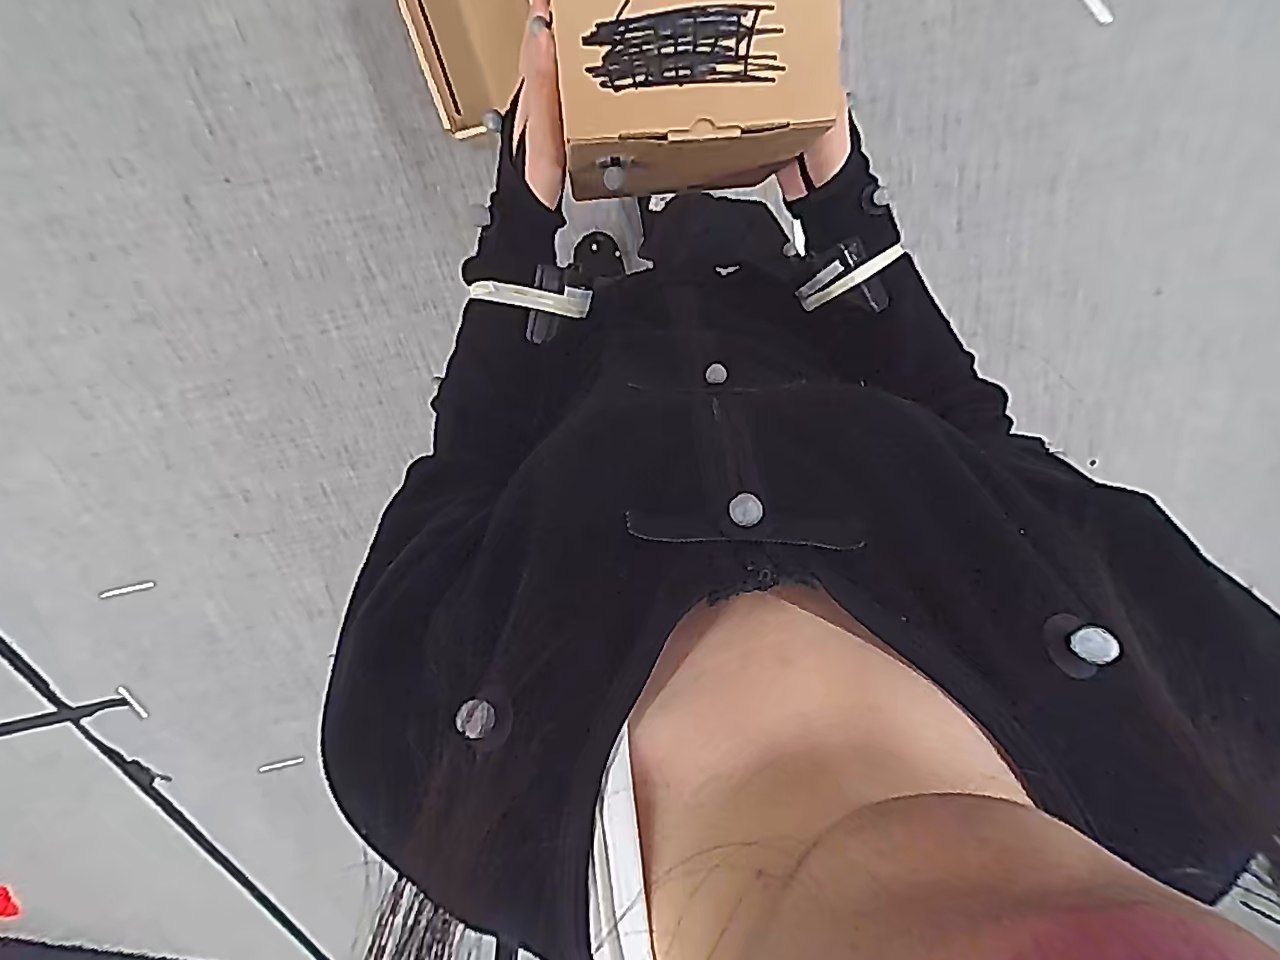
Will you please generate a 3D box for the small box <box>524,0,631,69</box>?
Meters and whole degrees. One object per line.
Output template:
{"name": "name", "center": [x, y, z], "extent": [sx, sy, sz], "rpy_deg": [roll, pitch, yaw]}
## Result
{"name": "small box", "center": [-0.129, -0.901, 0.991], "extent": [0.168, 0.176, 0.179], "rpy_deg": [-21, 118, 3]}
